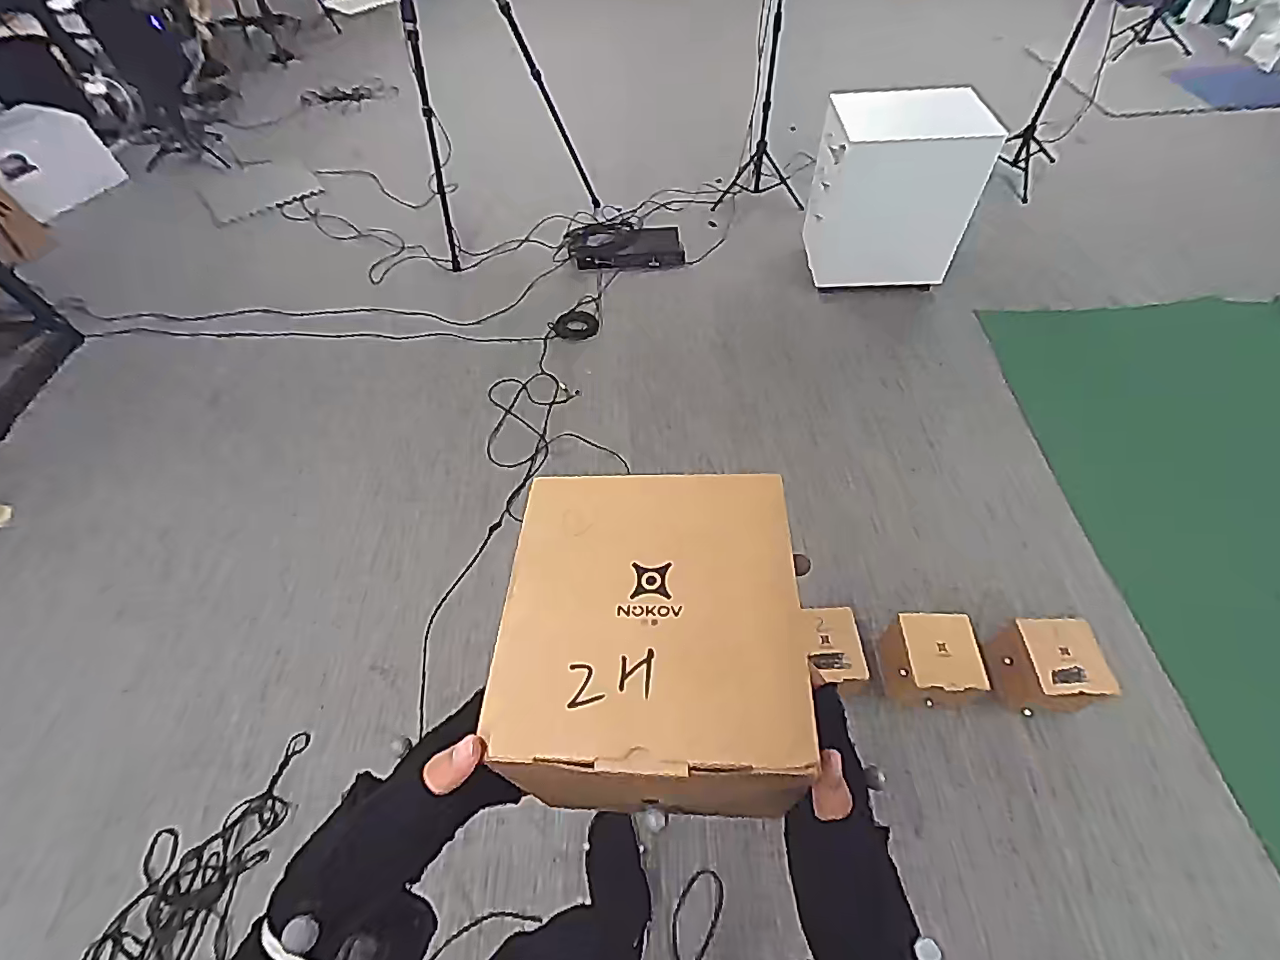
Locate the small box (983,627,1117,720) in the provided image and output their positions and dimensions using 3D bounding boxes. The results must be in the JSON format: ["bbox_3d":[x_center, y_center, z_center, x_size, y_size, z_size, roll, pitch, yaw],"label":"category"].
[{"bbox_3d":[0.969,0.468,1.296,0.168,0.176,0.179,0,54,3],"label":"small box"}]

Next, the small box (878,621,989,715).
[{"bbox_3d":[0.701,0.459,1.316,0.168,0.176,0.179,0,55,3],"label":"small box"}]

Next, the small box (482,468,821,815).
[{"bbox_3d":[0.015,0.110,0.368,0.168,0.176,0.179,0,51,6],"label":"small box"}]
